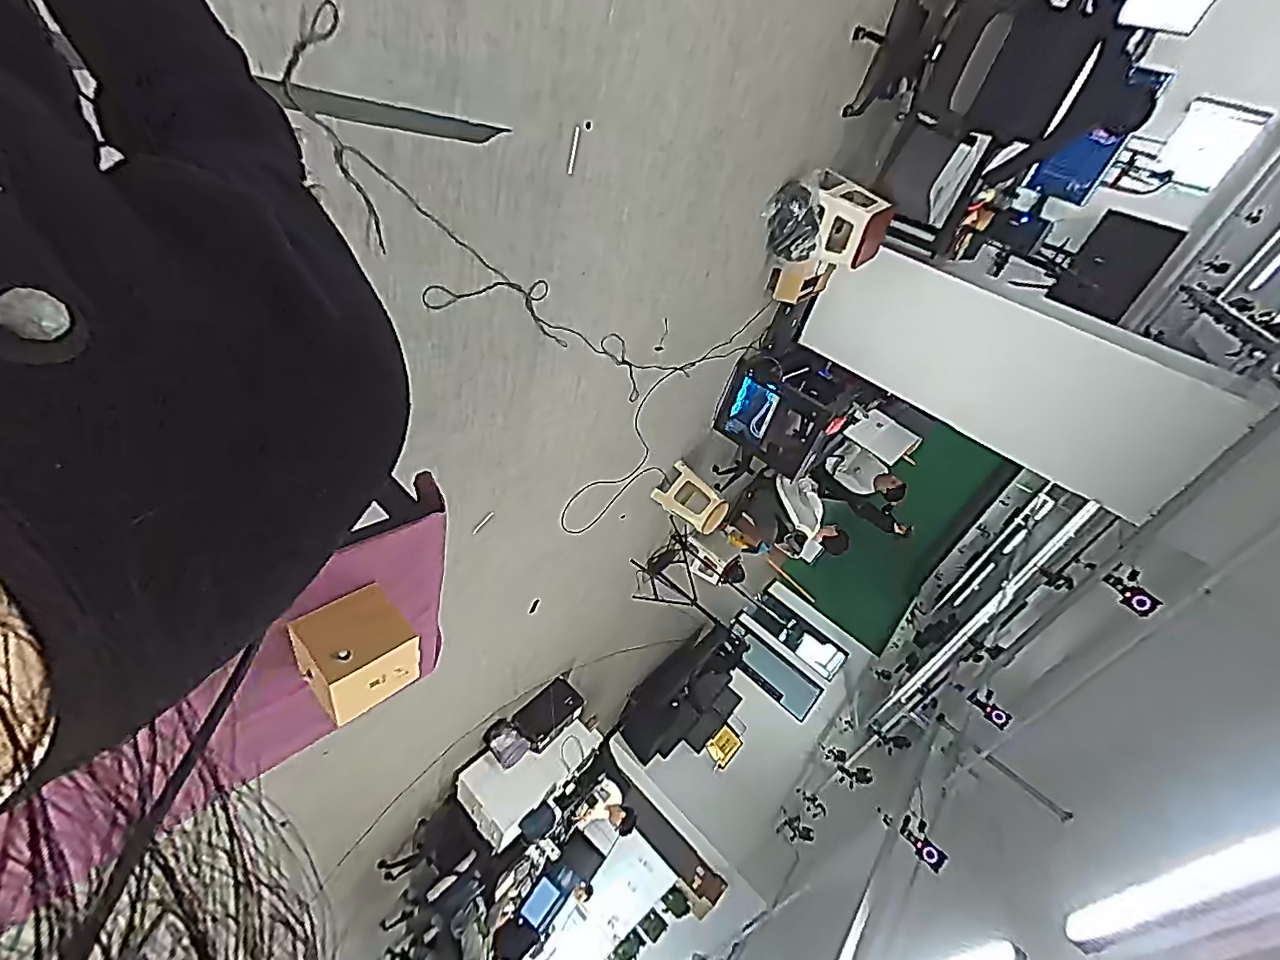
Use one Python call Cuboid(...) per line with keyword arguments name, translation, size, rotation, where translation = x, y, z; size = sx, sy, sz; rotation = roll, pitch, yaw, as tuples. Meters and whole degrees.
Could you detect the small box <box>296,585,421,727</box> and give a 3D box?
Cuboid(name="small box", translation=(-0.571, 0.351, 1.099), size=(0.179, 0.176, 0.168), rotation=(-28, 148, -43))
